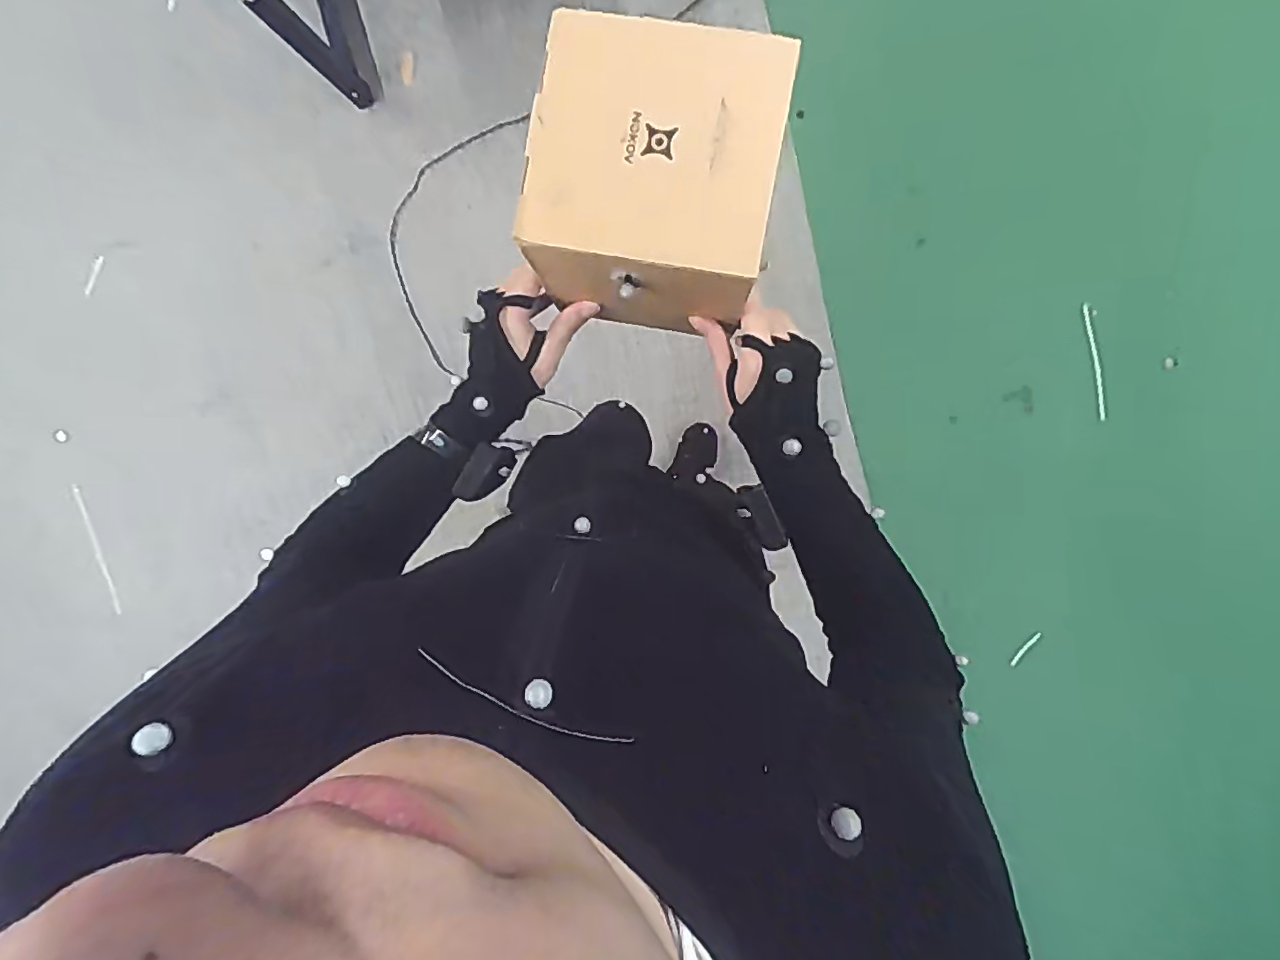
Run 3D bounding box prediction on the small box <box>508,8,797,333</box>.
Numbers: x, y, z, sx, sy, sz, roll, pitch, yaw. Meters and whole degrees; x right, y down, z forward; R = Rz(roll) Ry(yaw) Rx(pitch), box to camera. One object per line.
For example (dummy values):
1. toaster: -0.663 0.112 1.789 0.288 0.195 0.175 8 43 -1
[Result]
1. small box: 0.012 -0.233 0.451 0.179 0.176 0.168 11 91 4
